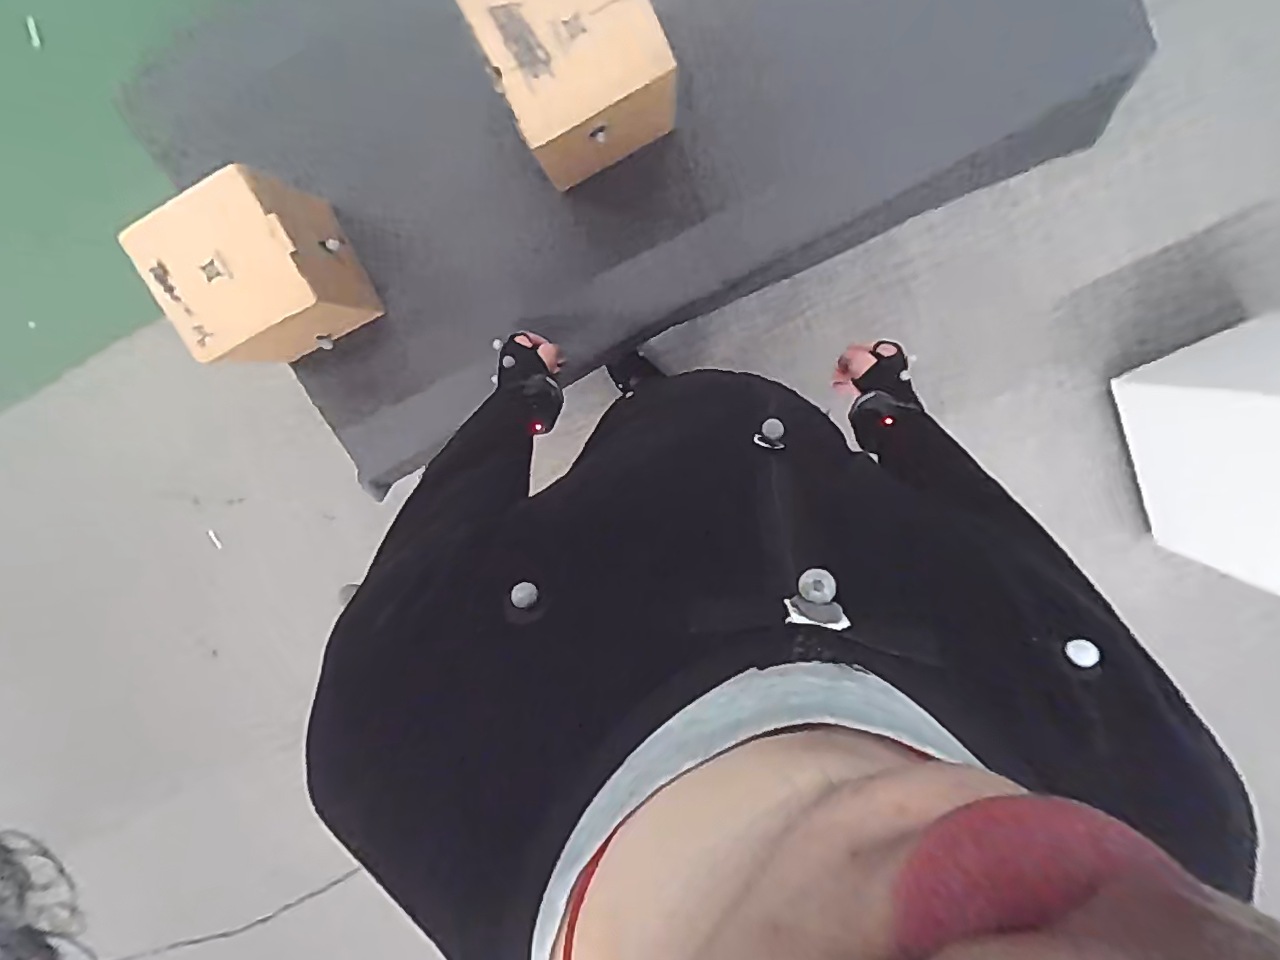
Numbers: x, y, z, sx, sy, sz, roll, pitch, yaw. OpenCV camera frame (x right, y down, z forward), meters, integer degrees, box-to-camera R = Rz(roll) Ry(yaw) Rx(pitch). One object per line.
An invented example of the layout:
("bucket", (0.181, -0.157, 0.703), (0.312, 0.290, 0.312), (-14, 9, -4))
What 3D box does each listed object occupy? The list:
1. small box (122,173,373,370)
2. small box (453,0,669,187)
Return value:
("small box", (-0.482, -0.257, 0.704), (0.179, 0.176, 0.168), (-25, 101, 8))
("small box", (-0.076, -0.476, 0.628), (0.179, 0.176, 0.168), (-26, 102, 8))
